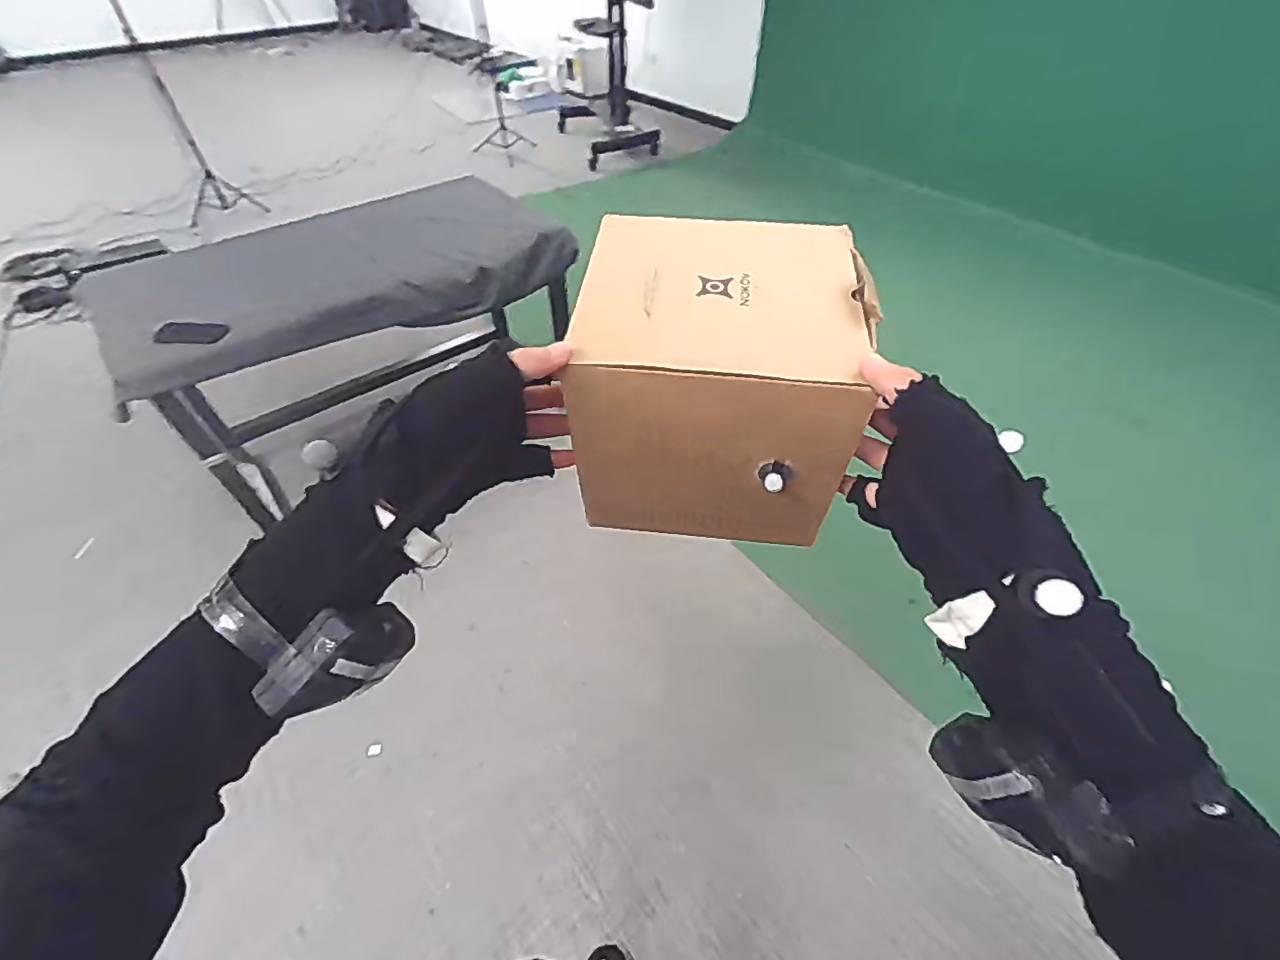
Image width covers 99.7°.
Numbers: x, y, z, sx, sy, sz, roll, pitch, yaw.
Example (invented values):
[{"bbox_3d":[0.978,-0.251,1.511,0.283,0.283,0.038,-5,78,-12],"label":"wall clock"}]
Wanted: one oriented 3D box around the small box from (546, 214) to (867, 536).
[{"bbox_3d":[0.045,-0.072,0.401,0.179,0.176,0.168,3,52,6],"label":"small box"}]
